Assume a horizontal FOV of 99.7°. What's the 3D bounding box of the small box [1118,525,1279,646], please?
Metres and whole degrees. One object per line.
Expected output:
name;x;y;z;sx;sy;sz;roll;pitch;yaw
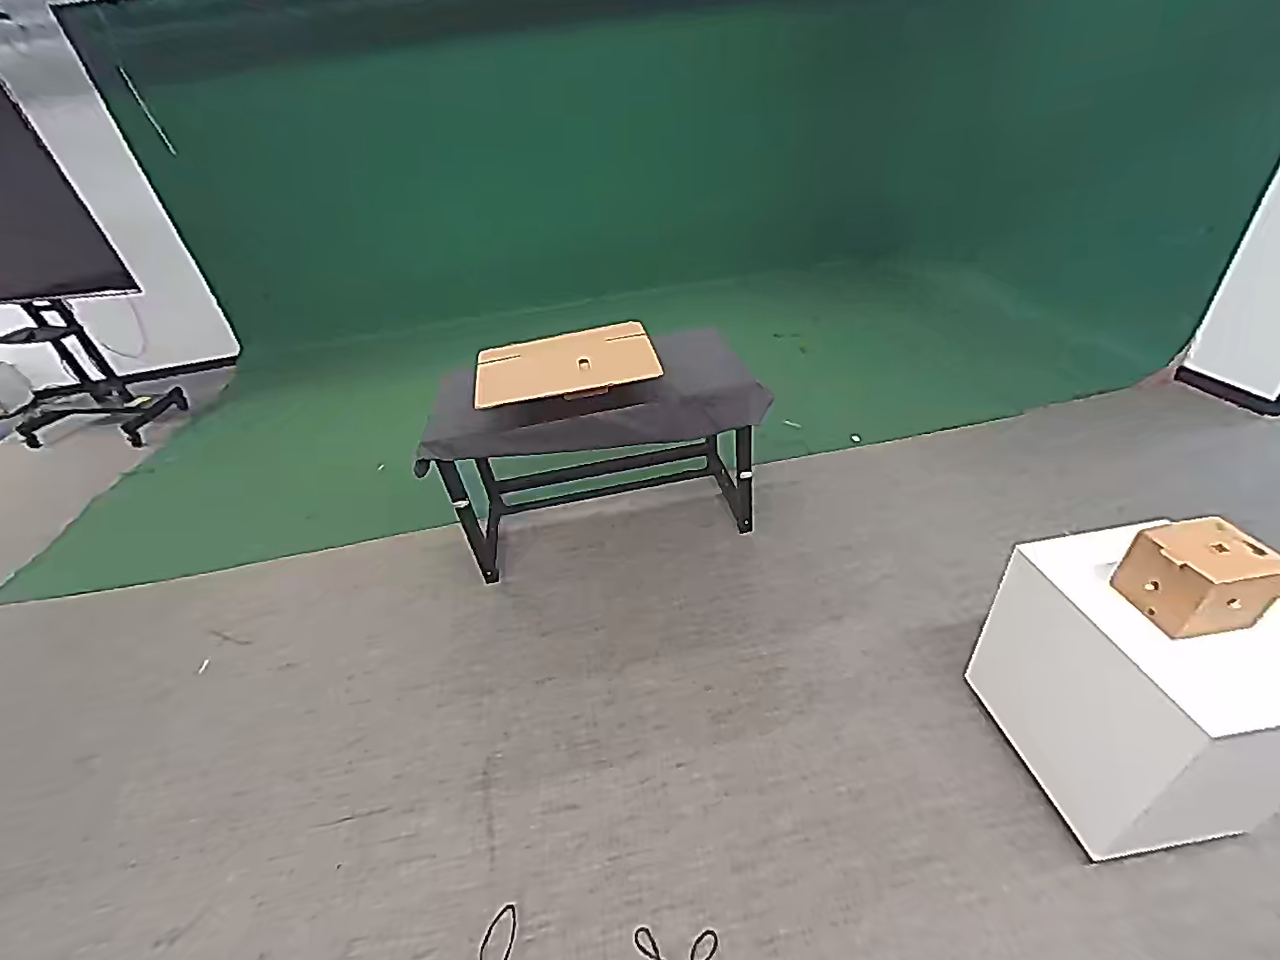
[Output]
small box;1.150;0.221;1.121;0.179;0.176;0.168;-10;34;-4
